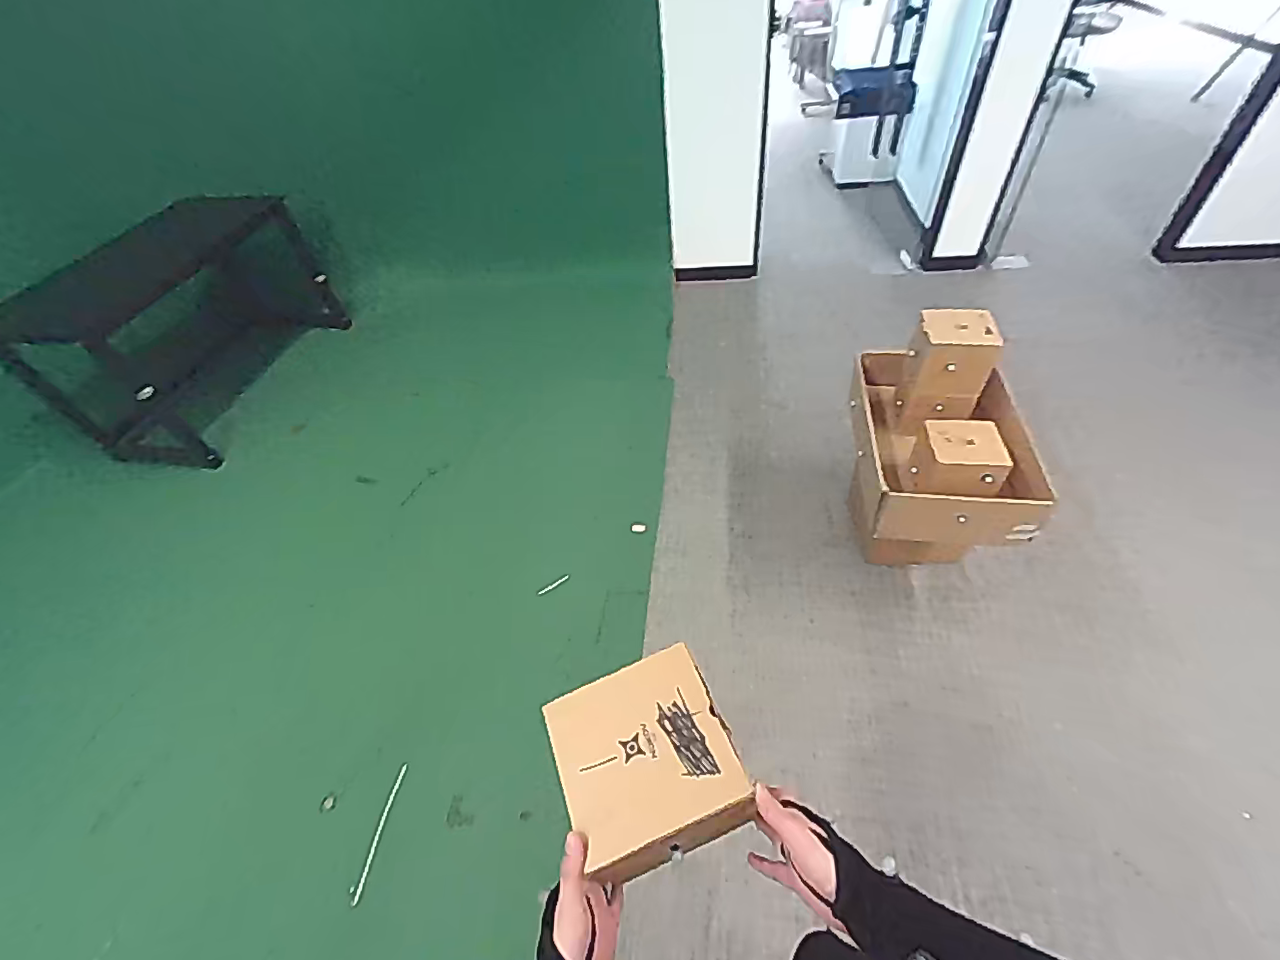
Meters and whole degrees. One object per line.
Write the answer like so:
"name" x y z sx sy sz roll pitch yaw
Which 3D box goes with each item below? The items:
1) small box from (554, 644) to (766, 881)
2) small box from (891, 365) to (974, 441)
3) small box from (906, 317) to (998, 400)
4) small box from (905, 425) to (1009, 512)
"small box" 0.025 0.319 0.609 0.179 0.176 0.168 -23 49 -5
"small box" 0.872 -0.227 1.636 0.179 0.176 0.168 6 49 10
"small box" 0.862 -0.339 1.516 0.179 0.176 0.168 4 50 11
"small box" 0.840 -0.028 1.451 0.179 0.176 0.168 2 47 9
